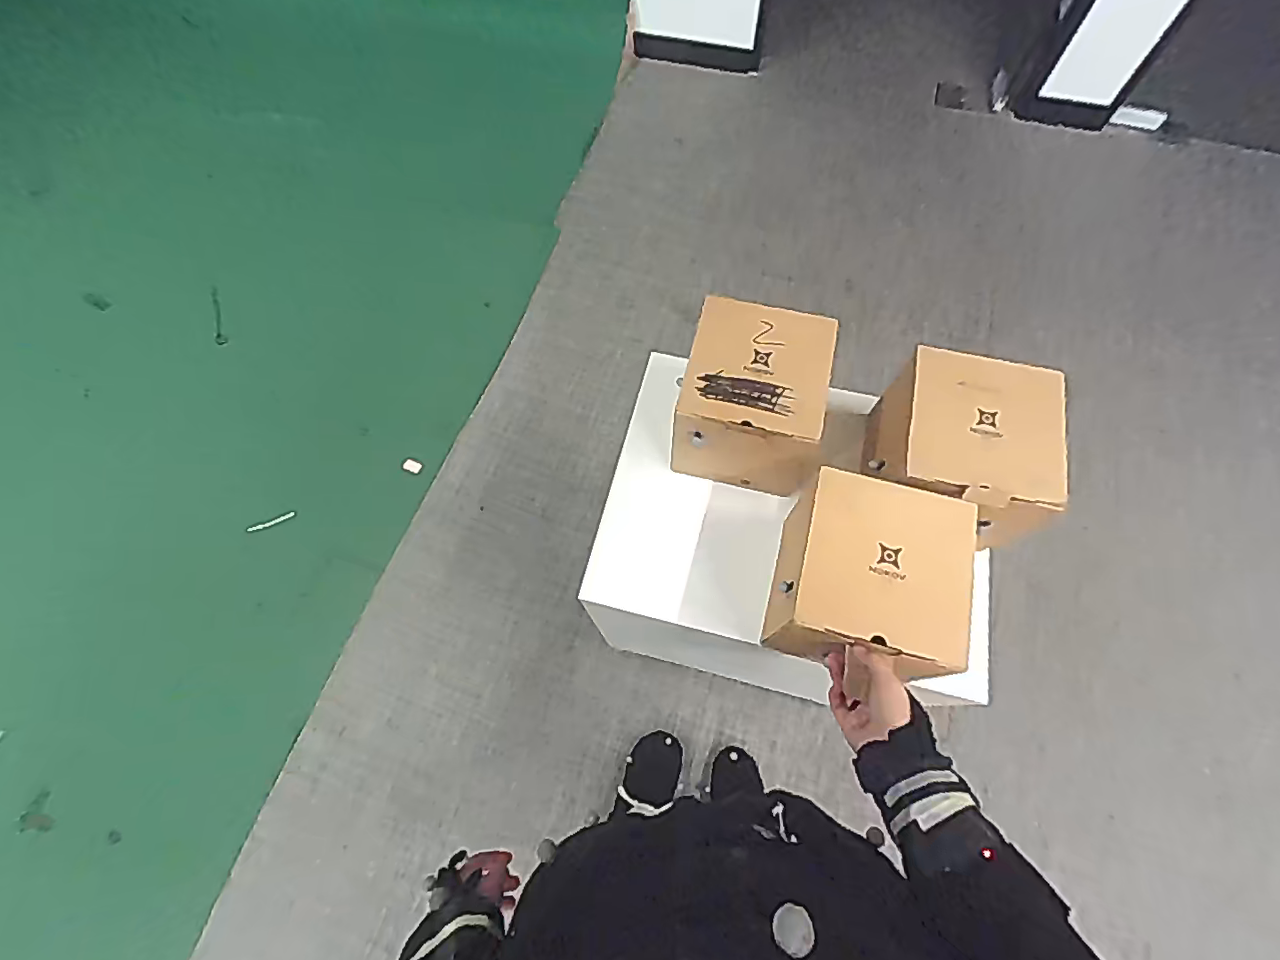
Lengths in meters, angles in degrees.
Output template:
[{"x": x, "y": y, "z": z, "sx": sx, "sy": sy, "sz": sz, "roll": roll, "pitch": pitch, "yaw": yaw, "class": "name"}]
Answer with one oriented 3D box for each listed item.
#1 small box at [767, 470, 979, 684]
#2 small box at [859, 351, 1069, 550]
[{"x": 0.251, "y": 0.117, "z": 0.611, "sx": 0.168, "sy": 0.176, "sz": 0.179, "roll": 15, "pitch": 67, "yaw": 7, "class": "small box"}, {"x": 0.385, "y": -0.027, "z": 0.669, "sx": 0.168, "sy": 0.176, "sz": 0.179, "roll": 13, "pitch": 67, "yaw": 6, "class": "small box"}]
